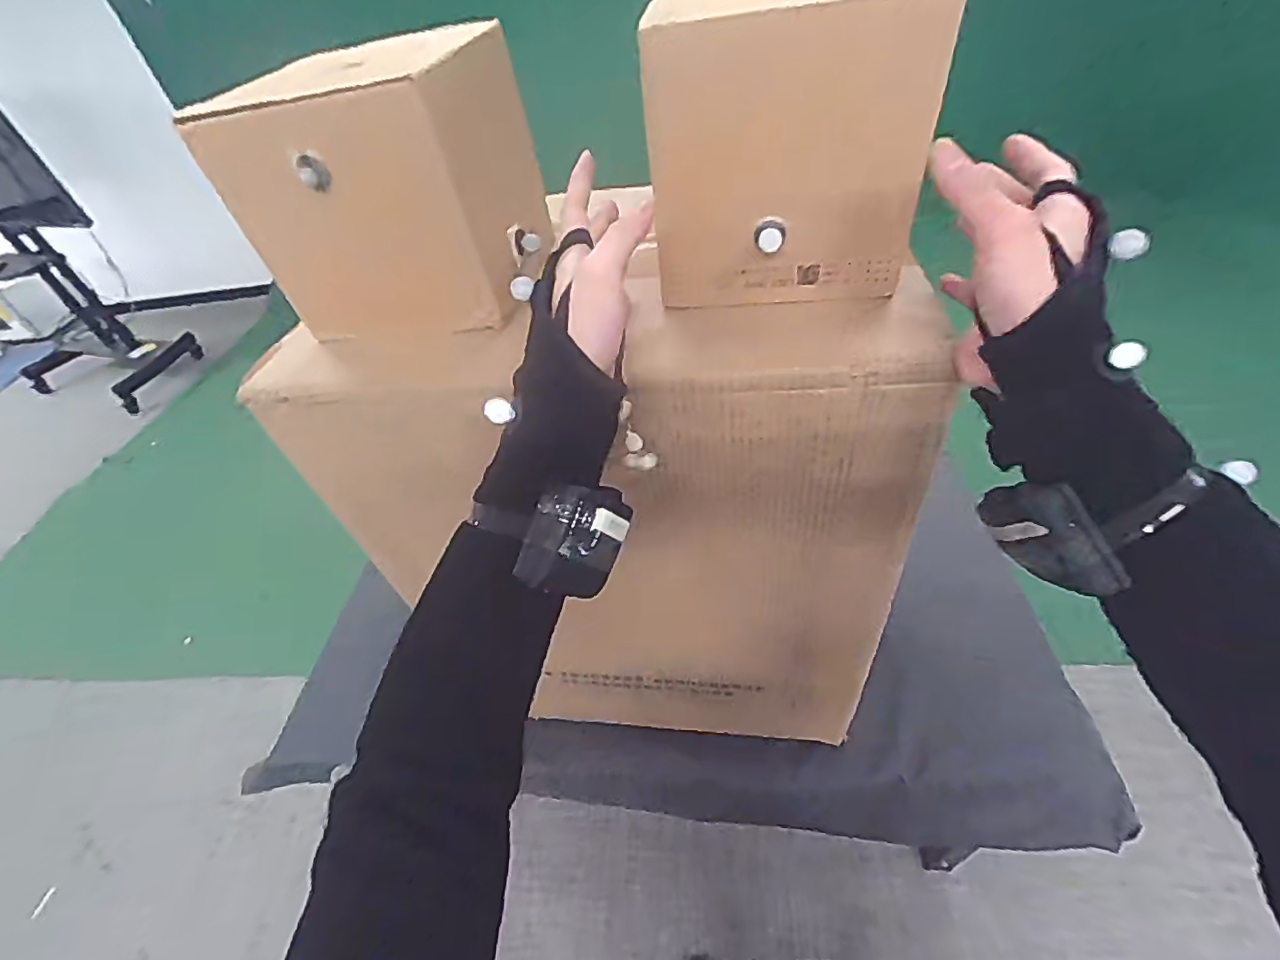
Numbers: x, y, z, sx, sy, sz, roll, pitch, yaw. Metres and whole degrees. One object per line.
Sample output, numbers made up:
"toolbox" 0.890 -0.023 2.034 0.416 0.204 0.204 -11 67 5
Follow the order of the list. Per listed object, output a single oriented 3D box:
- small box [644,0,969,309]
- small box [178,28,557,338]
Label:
"small box" 0.100 -0.243 0.391 0.168 0.176 0.179 1 49 10
"small box" -0.185 -0.228 0.432 0.179 0.176 0.168 1 49 11
